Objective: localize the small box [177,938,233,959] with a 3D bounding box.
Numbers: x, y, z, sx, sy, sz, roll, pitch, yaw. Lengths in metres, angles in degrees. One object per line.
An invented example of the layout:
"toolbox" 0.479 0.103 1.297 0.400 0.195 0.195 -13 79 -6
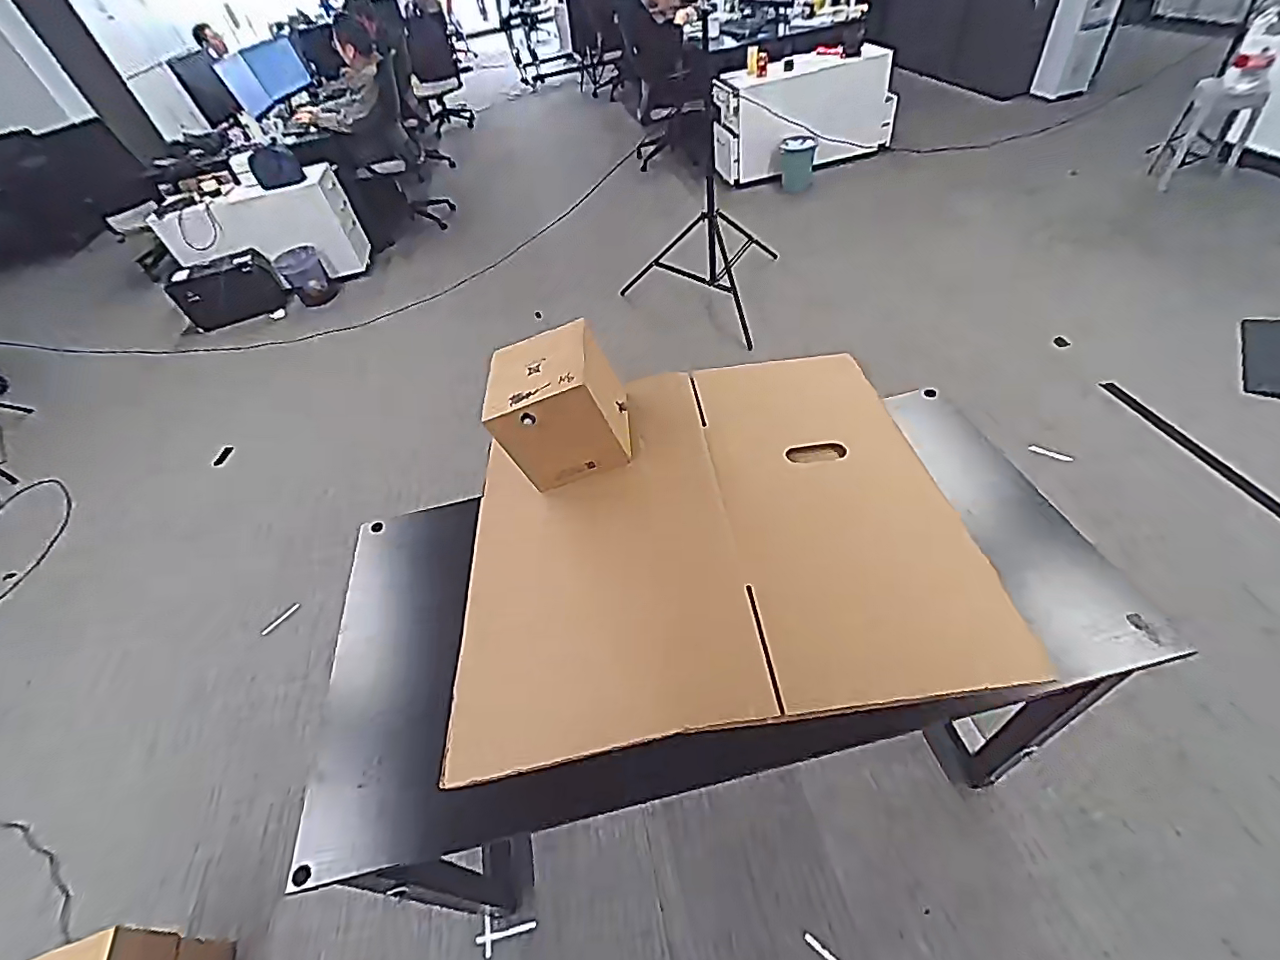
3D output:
"small box" -1.000 1.100 1.130 0.168 0.176 0.179 -17 47 -5

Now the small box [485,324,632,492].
"small box" -0.120 -0.111 0.865 0.168 0.176 0.179 -19 44 13

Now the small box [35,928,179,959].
"small box" -1.026 0.986 1.016 0.168 0.176 0.179 -18 45 -8
